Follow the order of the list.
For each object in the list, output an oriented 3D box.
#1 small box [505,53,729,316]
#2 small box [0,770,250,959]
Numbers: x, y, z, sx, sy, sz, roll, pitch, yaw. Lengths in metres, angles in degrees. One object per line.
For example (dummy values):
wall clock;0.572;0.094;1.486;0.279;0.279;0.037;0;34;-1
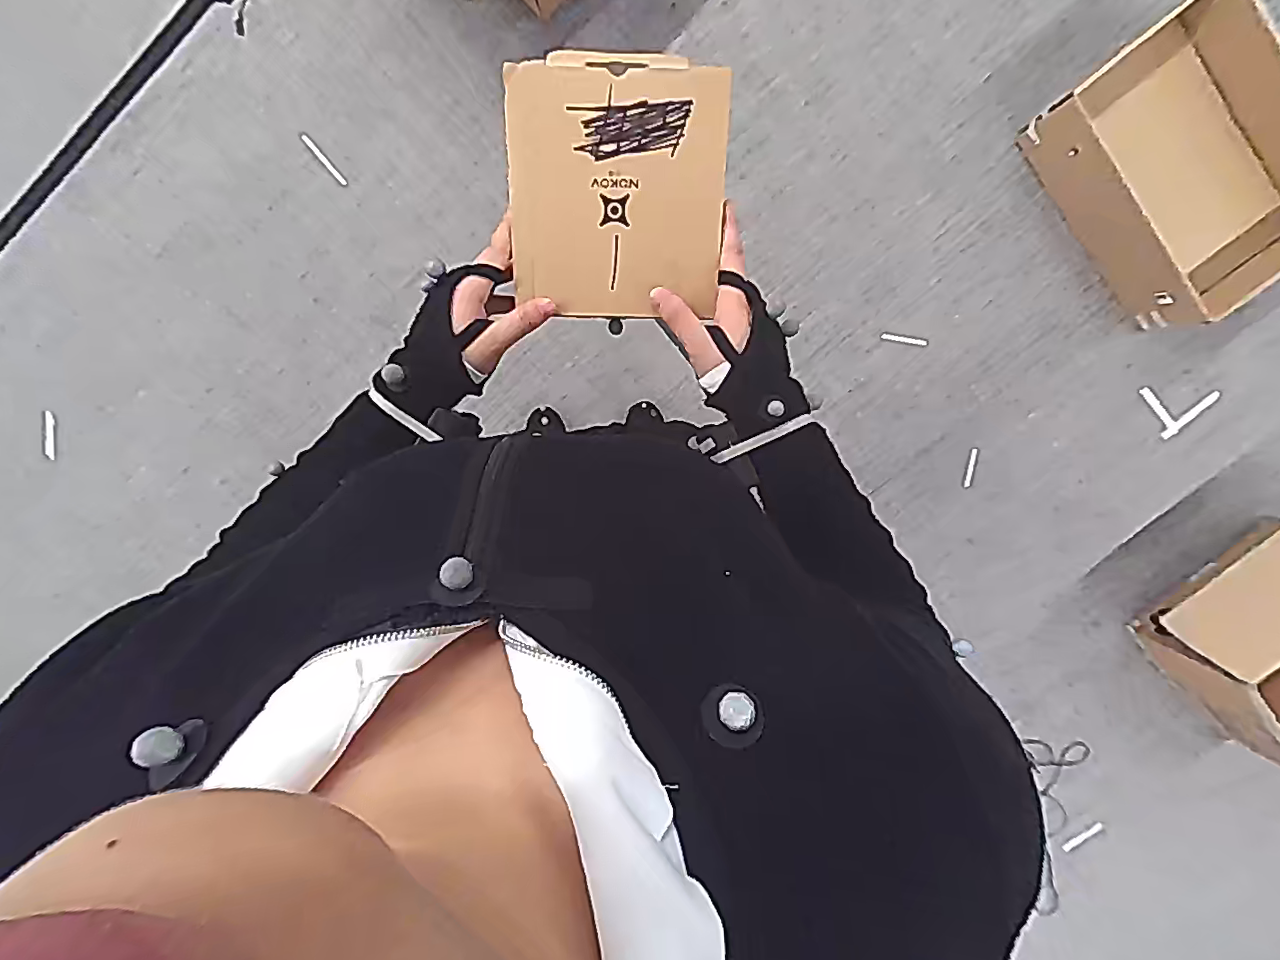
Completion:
small box;-0.020;-0.244;0.489;0.168;0.176;0.179;2;108;0
small box;-0.719;0.567;0.770;0.179;0.176;0.168;-39;98;6
